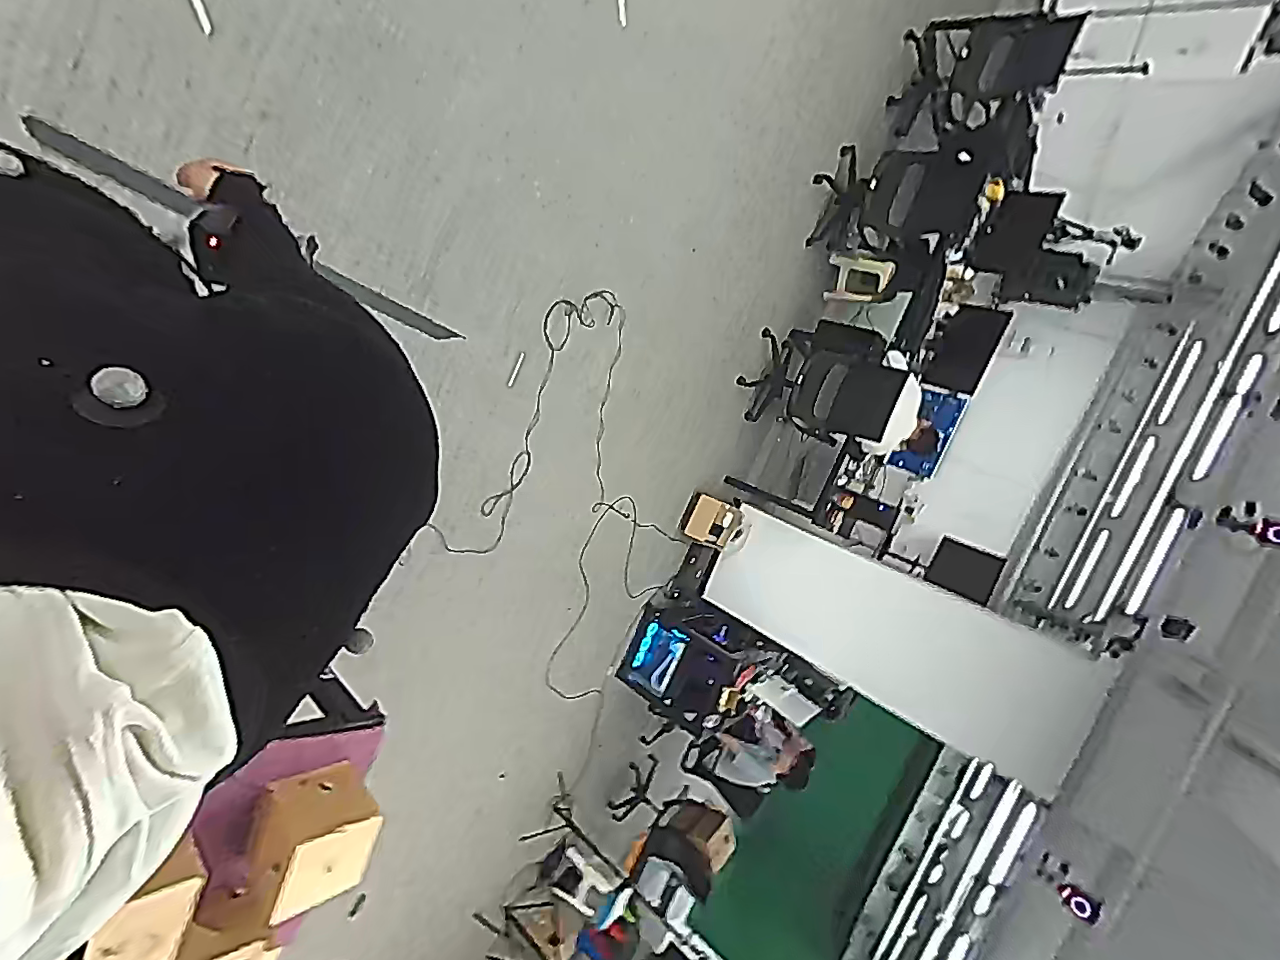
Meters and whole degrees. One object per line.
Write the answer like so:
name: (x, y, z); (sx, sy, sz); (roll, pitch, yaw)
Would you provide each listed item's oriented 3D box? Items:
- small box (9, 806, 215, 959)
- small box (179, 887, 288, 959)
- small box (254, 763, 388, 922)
small box: (-0.810, 0.649, 0.829); (0.179, 0.176, 0.168); (18, 96, -58)
small box: (-0.811, 0.911, 1.009); (0.168, 0.176, 0.179); (29, 87, -57)
small box: (-0.654, 0.723, 1.102); (0.168, 0.176, 0.179); (12, 101, -55)
